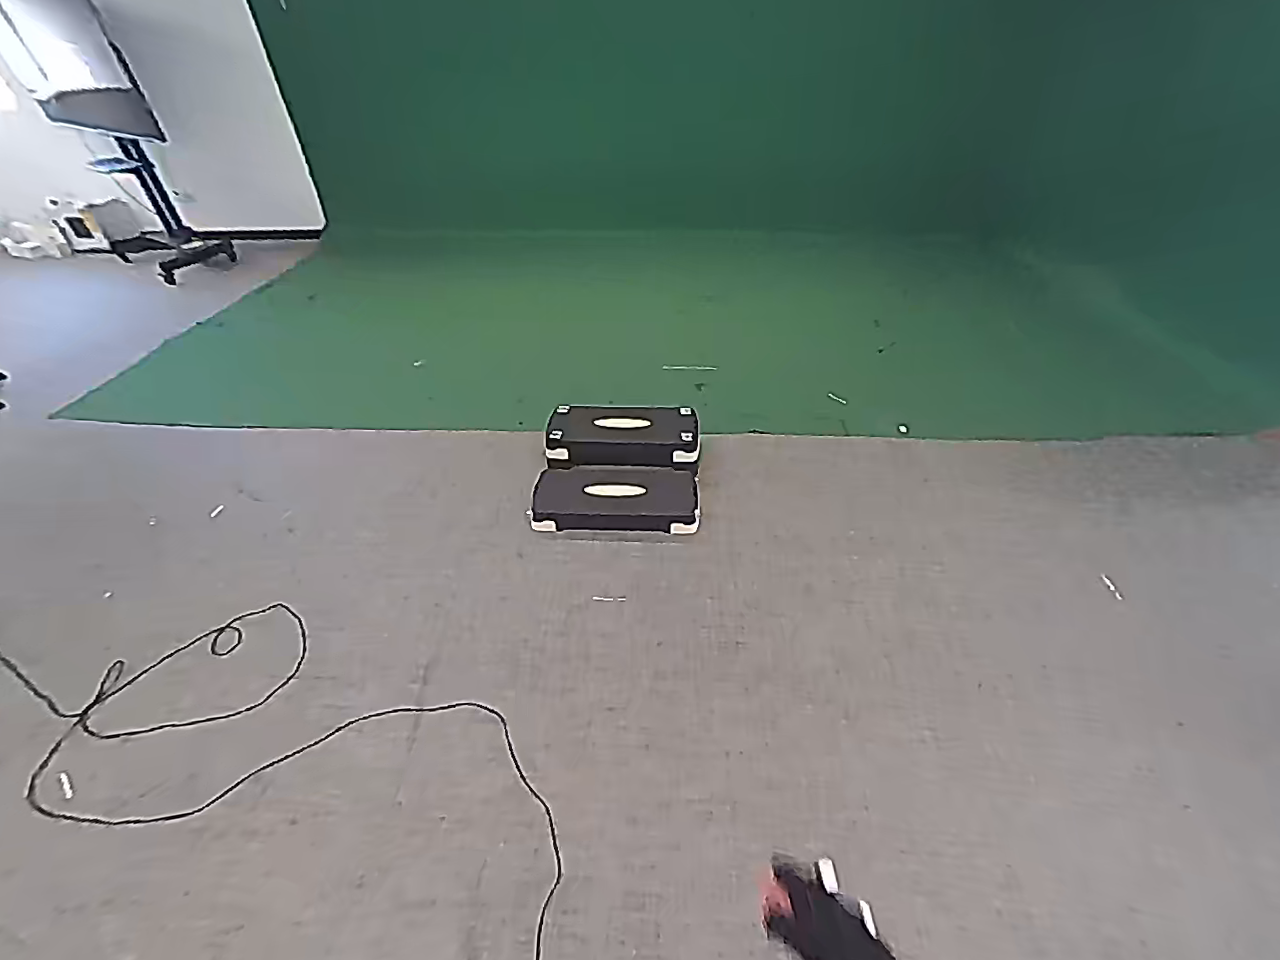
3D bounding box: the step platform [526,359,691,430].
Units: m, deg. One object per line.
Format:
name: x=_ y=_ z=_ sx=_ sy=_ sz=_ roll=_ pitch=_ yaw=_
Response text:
step platform: x=-0.125 y=-0.366 z=2.314 sx=0.684 sy=0.204 sz=0.286 roll=0 pitch=41 yaw=3
